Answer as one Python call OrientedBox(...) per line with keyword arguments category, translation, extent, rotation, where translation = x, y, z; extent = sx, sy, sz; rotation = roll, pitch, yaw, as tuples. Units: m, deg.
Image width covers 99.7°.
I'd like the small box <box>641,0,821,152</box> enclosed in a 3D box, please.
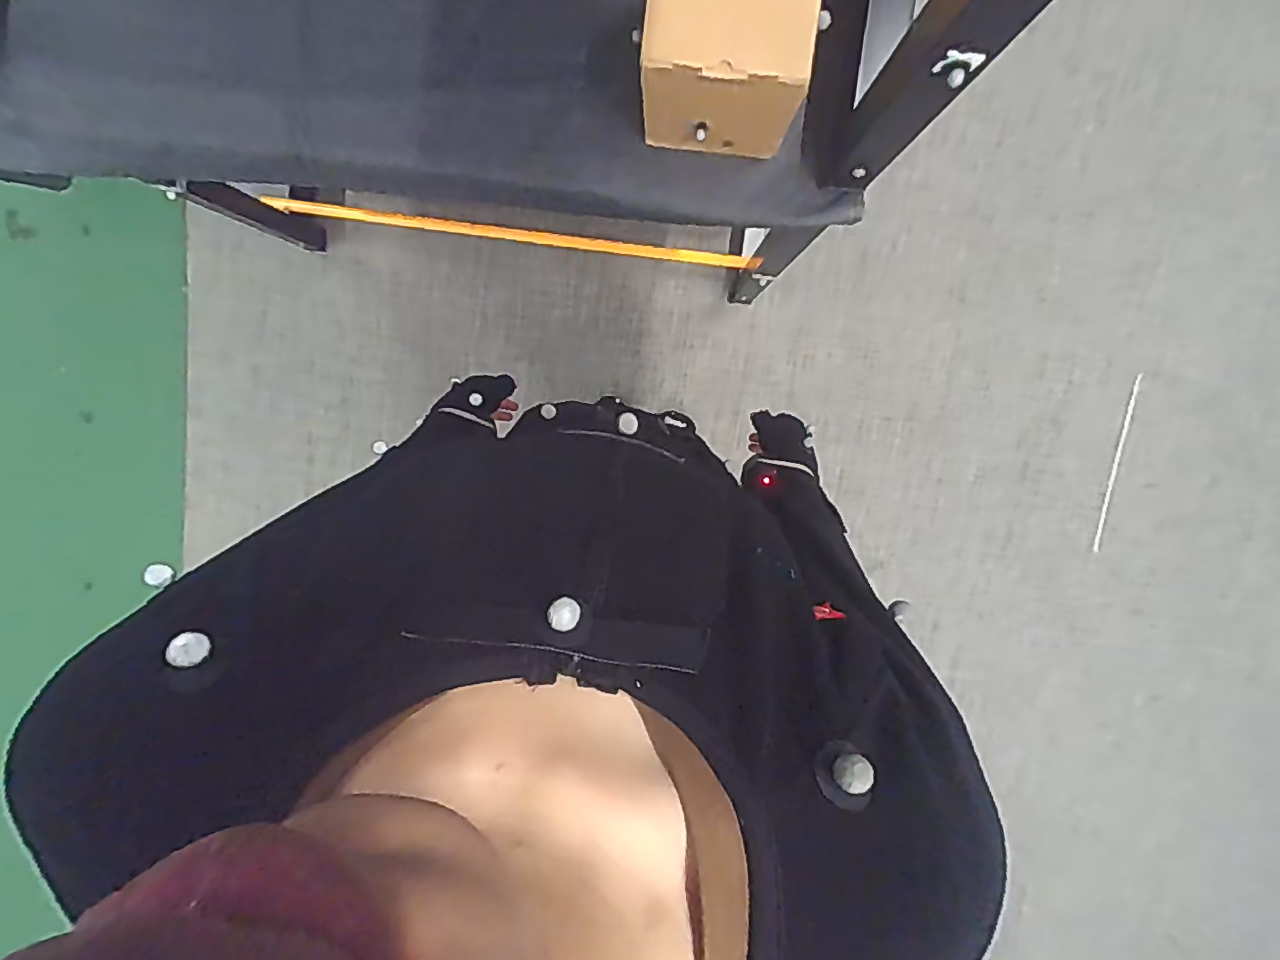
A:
OrientedBox(category="small box", translation=(0.093, -0.490, 0.580), extent=(0.168, 0.176, 0.179), rotation=(7, 99, 1))
